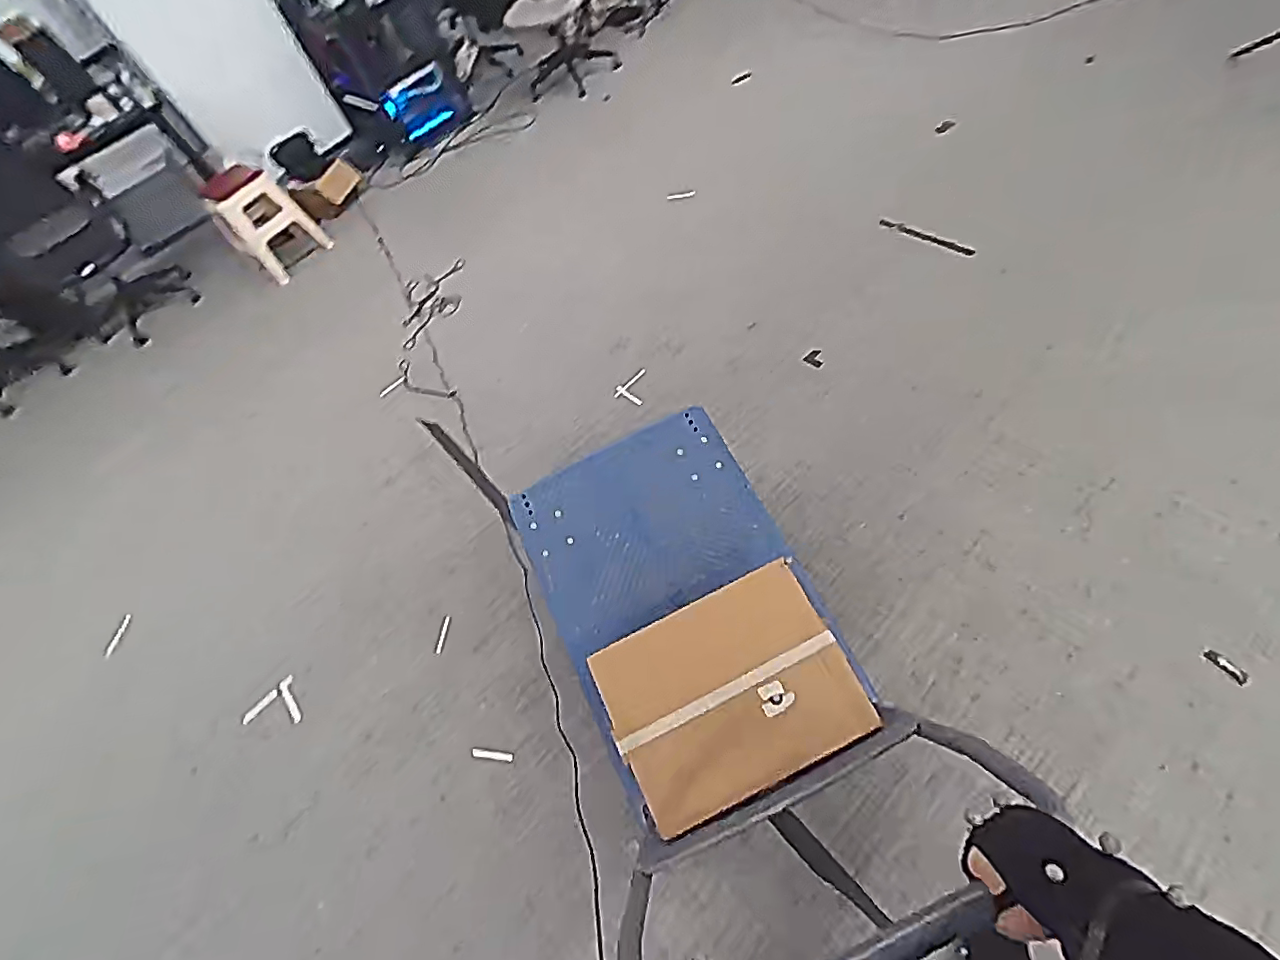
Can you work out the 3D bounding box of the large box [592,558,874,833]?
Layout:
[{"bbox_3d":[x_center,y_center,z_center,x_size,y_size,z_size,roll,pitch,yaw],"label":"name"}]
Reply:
[{"bbox_3d":[0.167,0.412,1.081,0.408,0.320,0.320,-27,70,-4],"label":"large box"}]
